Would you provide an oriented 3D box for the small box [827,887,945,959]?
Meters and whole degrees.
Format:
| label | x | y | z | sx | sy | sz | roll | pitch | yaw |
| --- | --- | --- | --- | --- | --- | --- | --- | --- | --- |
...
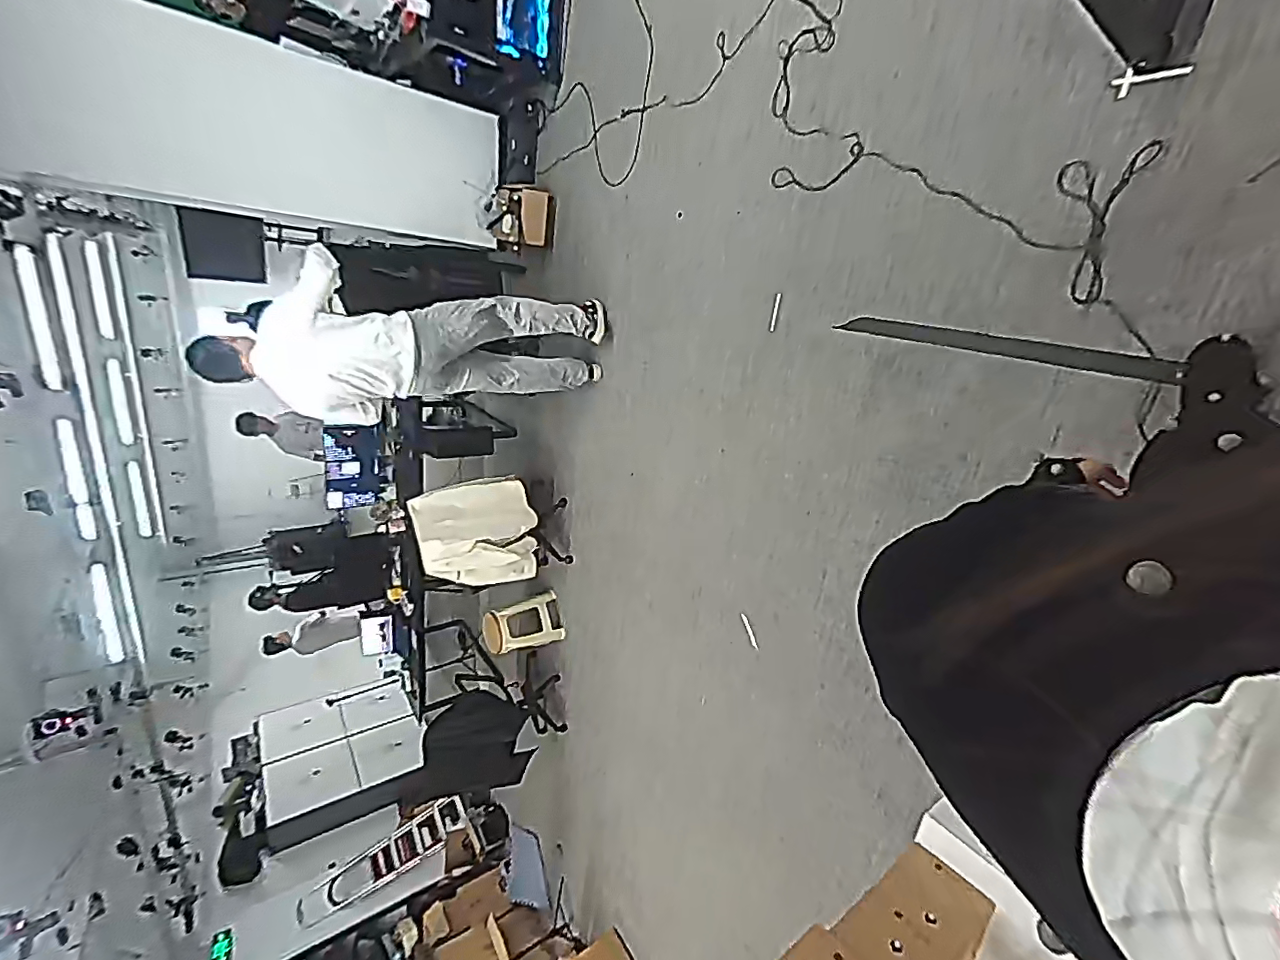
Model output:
| label | x | y | z | sx | sy | sz | roll | pitch | yaw |
| --- | --- | --- | --- | --- | --- | --- | --- | --- | --- |
| small box | 0.440 | 0.914 | 0.997 | 0.168 | 0.176 | 0.179 | 26 | 117 | 48 |

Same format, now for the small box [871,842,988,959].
| label | x | y | z | sx | sy | sz | roll | pitch | yaw |
| --- | --- | --- | --- | --- | --- | --- | --- | --- | --- |
| small box | 0.571 | 0.895 | 1.096 | 0.168 | 0.176 | 0.179 | 25 | 116 | 47 |

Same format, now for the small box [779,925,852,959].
| label | x | y | z | sx | sy | sz | roll | pitch | yaw |
| --- | --- | --- | --- | --- | --- | --- | --- | --- | --- |
| small box | 0.304 | 0.916 | 0.906 | 0.168 | 0.176 | 0.179 | 20 | 112 | 50 |
